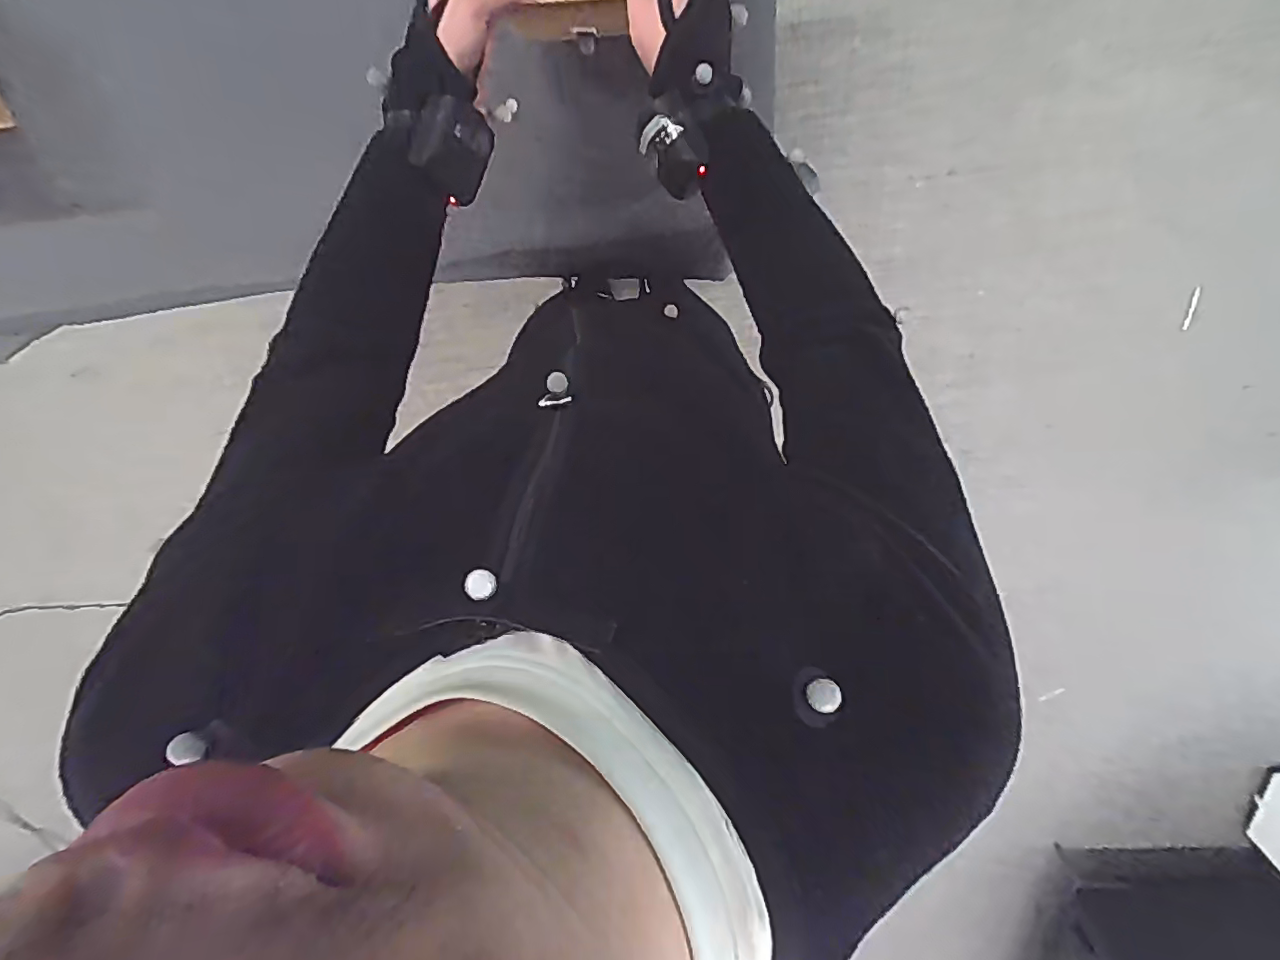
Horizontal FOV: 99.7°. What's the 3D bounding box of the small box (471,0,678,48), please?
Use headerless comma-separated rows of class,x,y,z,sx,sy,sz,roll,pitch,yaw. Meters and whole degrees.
small box,-0.050,-0.489,0.454,0.168,0.176,0.179,1,122,4
